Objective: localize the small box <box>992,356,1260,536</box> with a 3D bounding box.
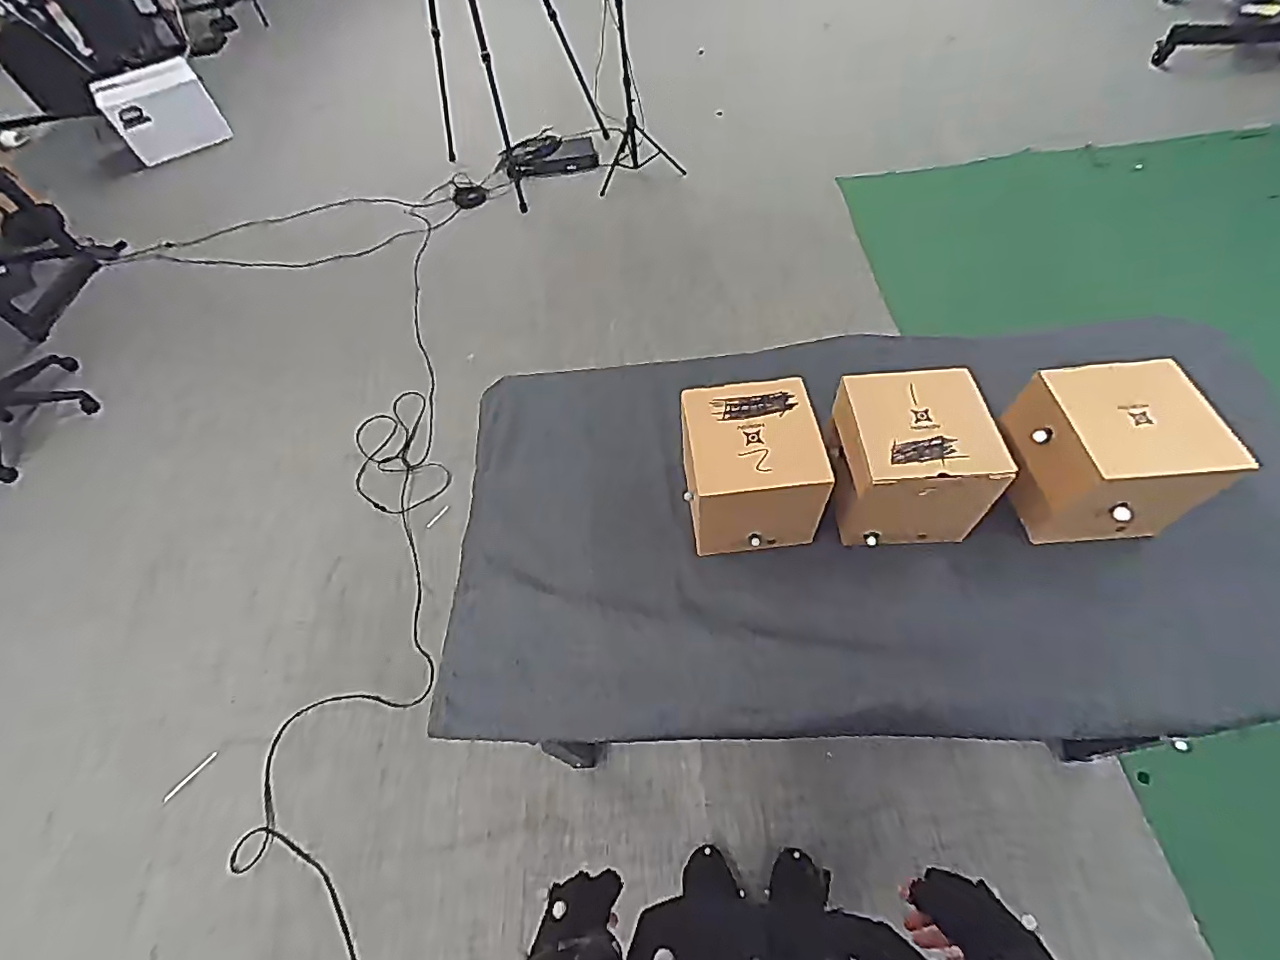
[{"bbox_3d":[0.608,-0.035,0.711,0.168,0.176,0.179,-5,56,4],"label":"small box"}]
